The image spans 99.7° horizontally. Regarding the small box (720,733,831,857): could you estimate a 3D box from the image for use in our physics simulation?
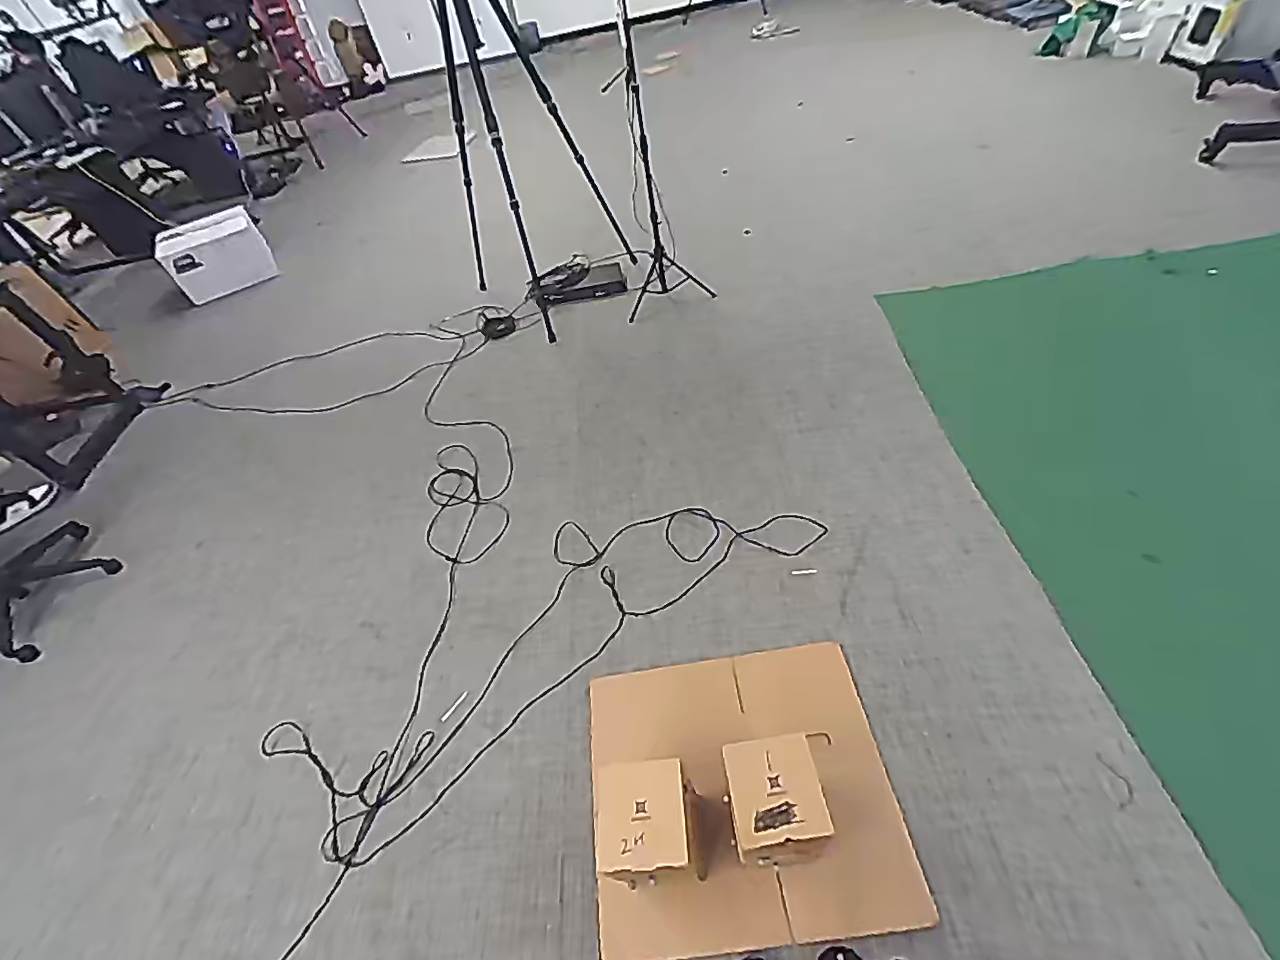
[{"bbox_3d":[0.258,0.618,1.053,0.168,0.176,0.179,-11,48,2],"label":"small box"}]

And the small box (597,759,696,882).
[{"bbox_3d":[0.015,0.668,1.059,0.168,0.176,0.179,-9,49,6],"label":"small box"}]

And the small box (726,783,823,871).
[{"bbox_3d":[0.282,0.726,1.175,0.168,0.176,0.179,-11,49,2],"label":"small box"}]
